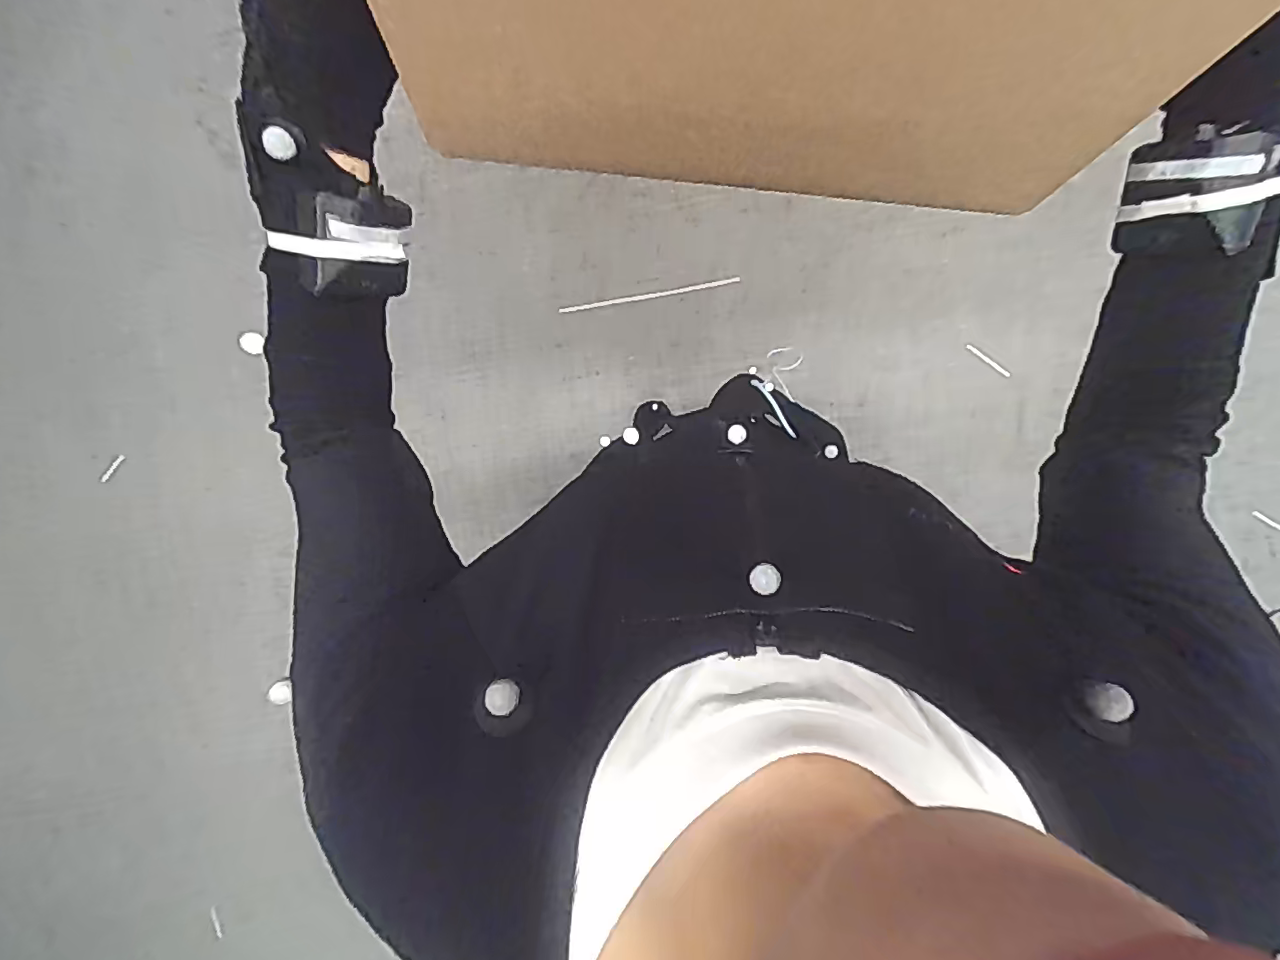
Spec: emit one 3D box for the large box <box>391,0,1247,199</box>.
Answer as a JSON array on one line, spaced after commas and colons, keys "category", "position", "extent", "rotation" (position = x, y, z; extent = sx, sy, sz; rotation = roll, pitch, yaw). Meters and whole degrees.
[{"category": "large box", "position": [0.086, -0.374, 0.240], "extent": [0.408, 0.320, 0.320], "rotation": [4, 82, -5]}]
